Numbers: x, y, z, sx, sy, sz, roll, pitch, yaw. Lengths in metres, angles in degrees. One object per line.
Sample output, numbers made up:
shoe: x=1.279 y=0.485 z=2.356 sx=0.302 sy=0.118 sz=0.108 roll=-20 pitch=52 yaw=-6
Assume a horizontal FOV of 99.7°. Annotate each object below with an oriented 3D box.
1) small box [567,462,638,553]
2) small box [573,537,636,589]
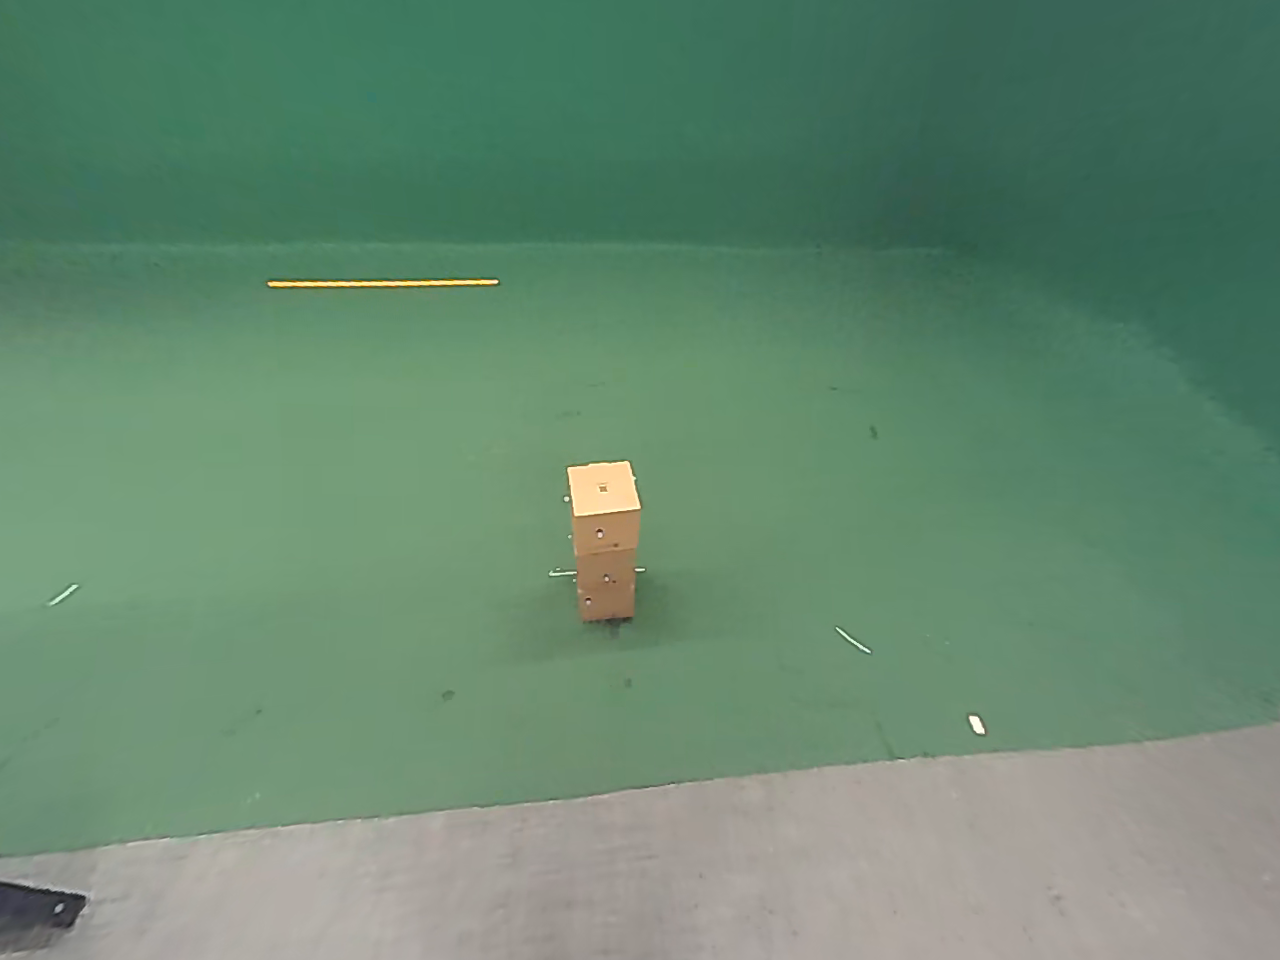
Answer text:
small box: x=-0.100 y=0.079 z=1.436 sx=0.168 sy=0.176 sz=0.179 roll=-7 pitch=46 yaw=-9
small box: x=-0.107 y=0.190 z=1.555 sx=0.168 sy=0.176 sz=0.179 roll=-5 pitch=46 yaw=-7
